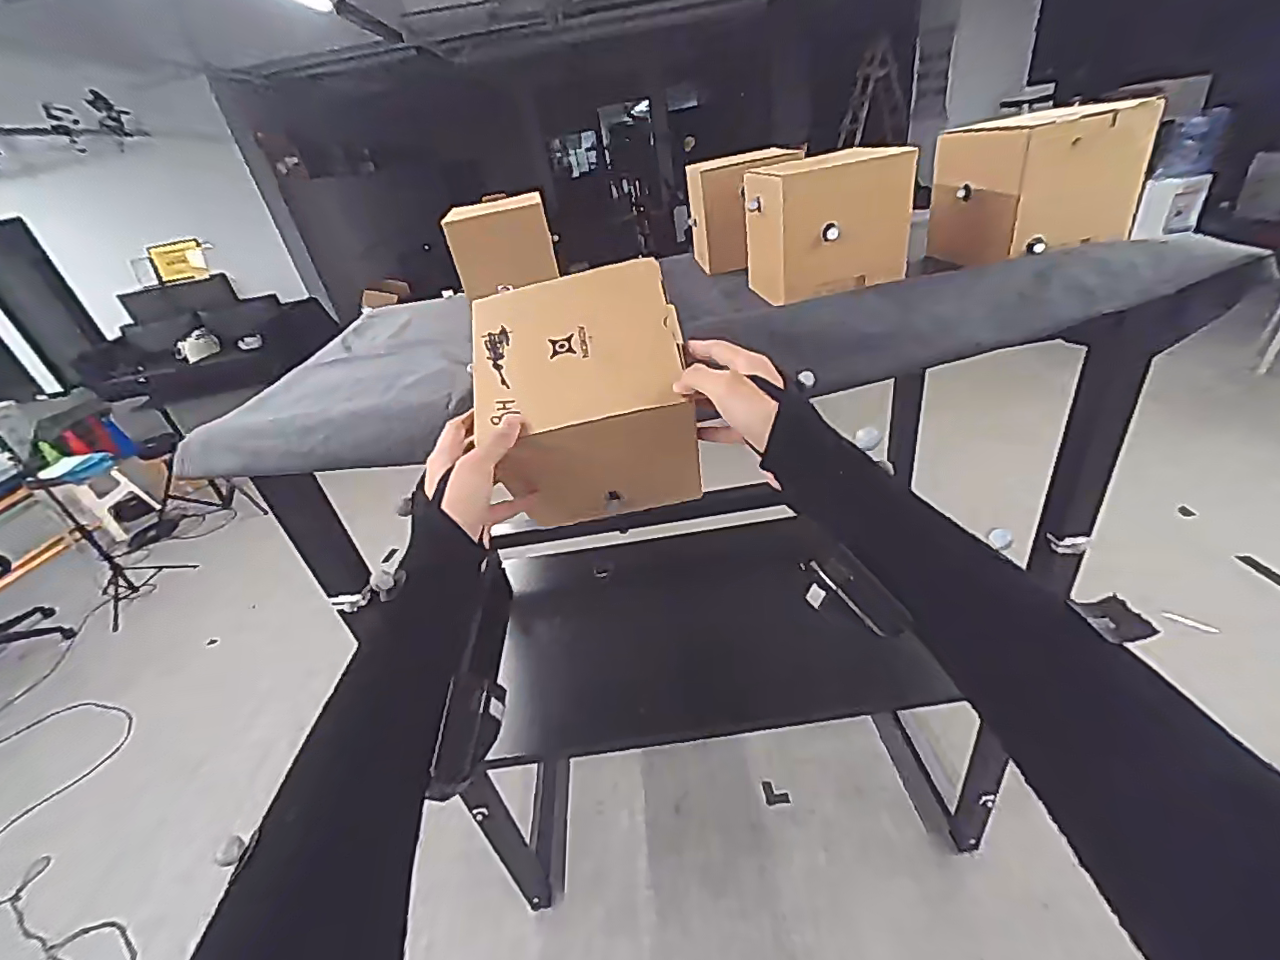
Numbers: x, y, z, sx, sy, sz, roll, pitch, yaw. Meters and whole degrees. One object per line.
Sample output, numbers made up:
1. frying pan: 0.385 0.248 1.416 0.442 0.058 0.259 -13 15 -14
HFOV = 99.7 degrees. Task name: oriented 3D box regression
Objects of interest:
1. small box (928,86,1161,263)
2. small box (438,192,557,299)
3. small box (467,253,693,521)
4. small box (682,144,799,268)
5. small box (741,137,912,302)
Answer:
1. small box: 0.515 -0.398 0.721 0.168 0.176 0.179 -13 31 -3
2. small box: -0.243 -0.408 0.974 0.168 0.176 0.179 -14 32 -3
3. small box: -0.048 -0.078 0.515 0.179 0.176 0.168 -12 61 2
4. small box: 0.182 -0.495 0.979 0.179 0.176 0.168 -10 33 2
5. small box: 0.244 -0.351 0.737 0.168 0.176 0.179 -11 31 0
